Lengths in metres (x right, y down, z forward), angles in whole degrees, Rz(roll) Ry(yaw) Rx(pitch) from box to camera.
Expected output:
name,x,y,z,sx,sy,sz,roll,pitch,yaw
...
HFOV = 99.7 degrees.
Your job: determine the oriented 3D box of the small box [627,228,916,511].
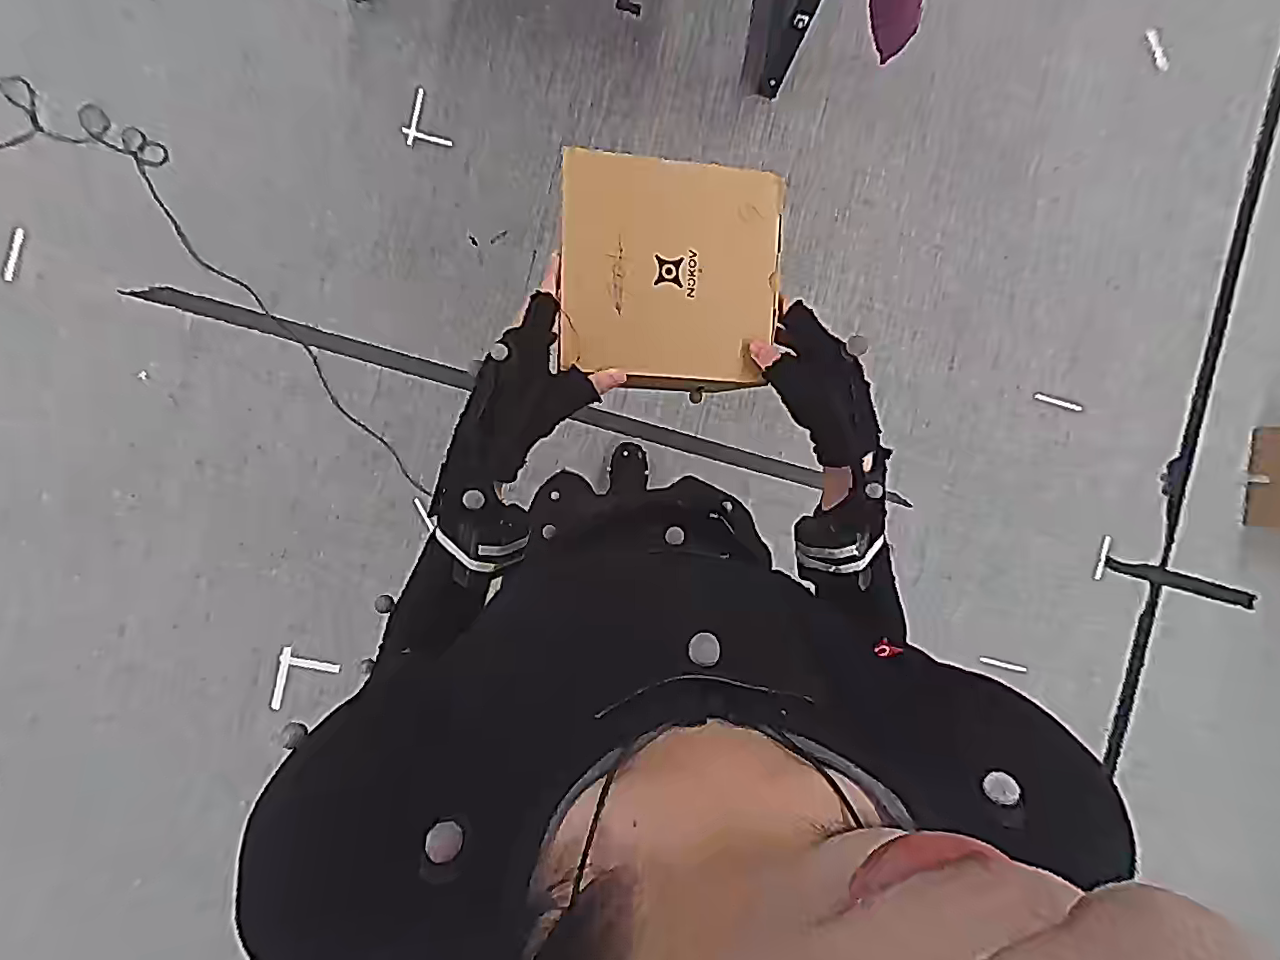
name,x,y,z,sx,sy,sz,roll,pitch,yaw
small box,0.128,-0.102,0.490,0.168,0.176,0.179,-24,101,40
